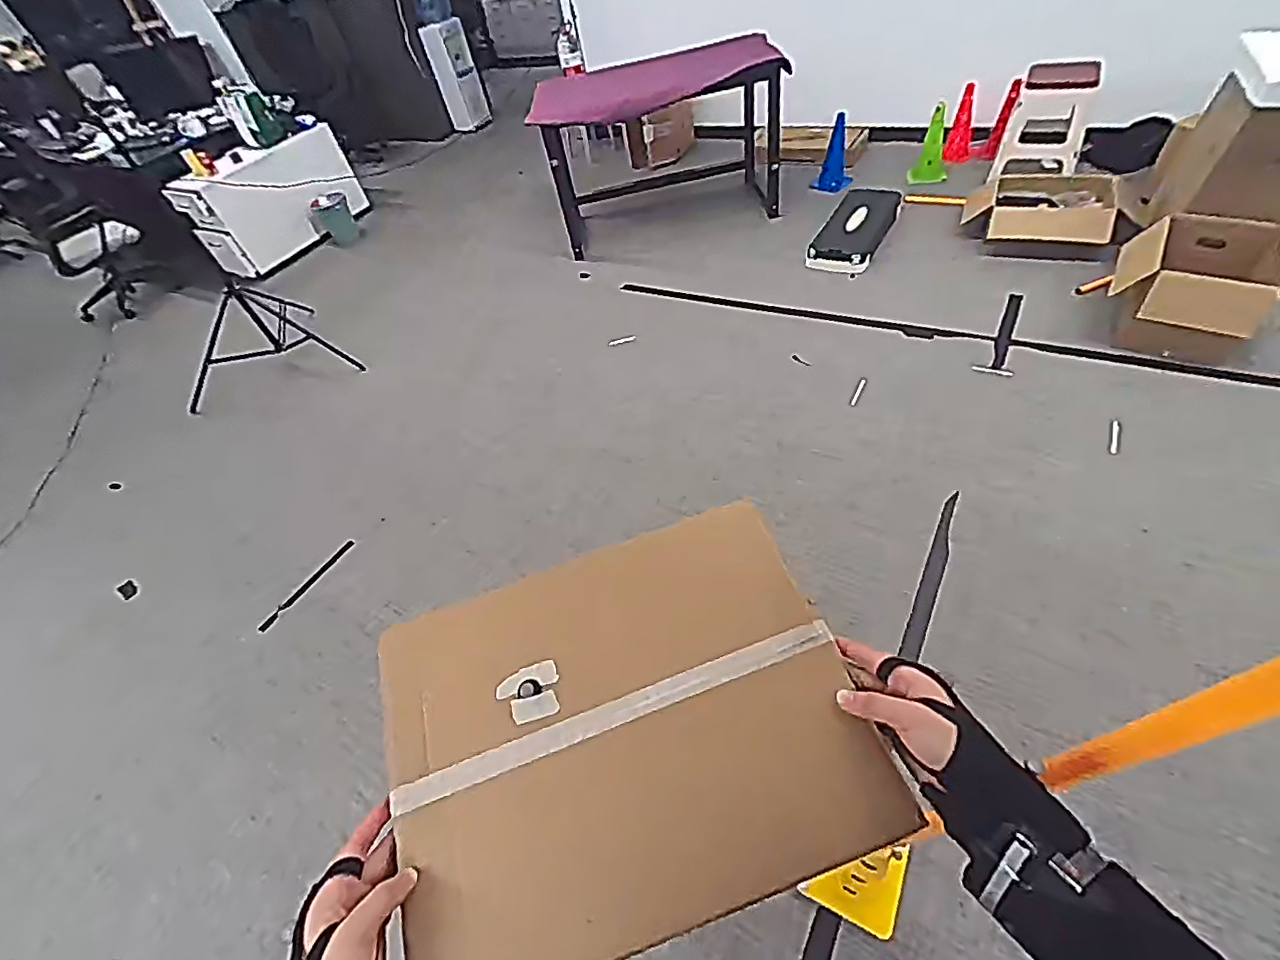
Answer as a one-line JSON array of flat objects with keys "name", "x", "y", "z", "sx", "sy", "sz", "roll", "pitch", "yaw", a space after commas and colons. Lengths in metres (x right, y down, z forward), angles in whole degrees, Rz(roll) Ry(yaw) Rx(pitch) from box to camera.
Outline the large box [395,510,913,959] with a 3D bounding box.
[{"name": "large box", "x": 0.005, "y": 0.296, "z": 0.613, "sx": 0.408, "sy": 0.320, "sz": 0.320, "roll": -21, "pitch": 56, "yaw": -4}]
